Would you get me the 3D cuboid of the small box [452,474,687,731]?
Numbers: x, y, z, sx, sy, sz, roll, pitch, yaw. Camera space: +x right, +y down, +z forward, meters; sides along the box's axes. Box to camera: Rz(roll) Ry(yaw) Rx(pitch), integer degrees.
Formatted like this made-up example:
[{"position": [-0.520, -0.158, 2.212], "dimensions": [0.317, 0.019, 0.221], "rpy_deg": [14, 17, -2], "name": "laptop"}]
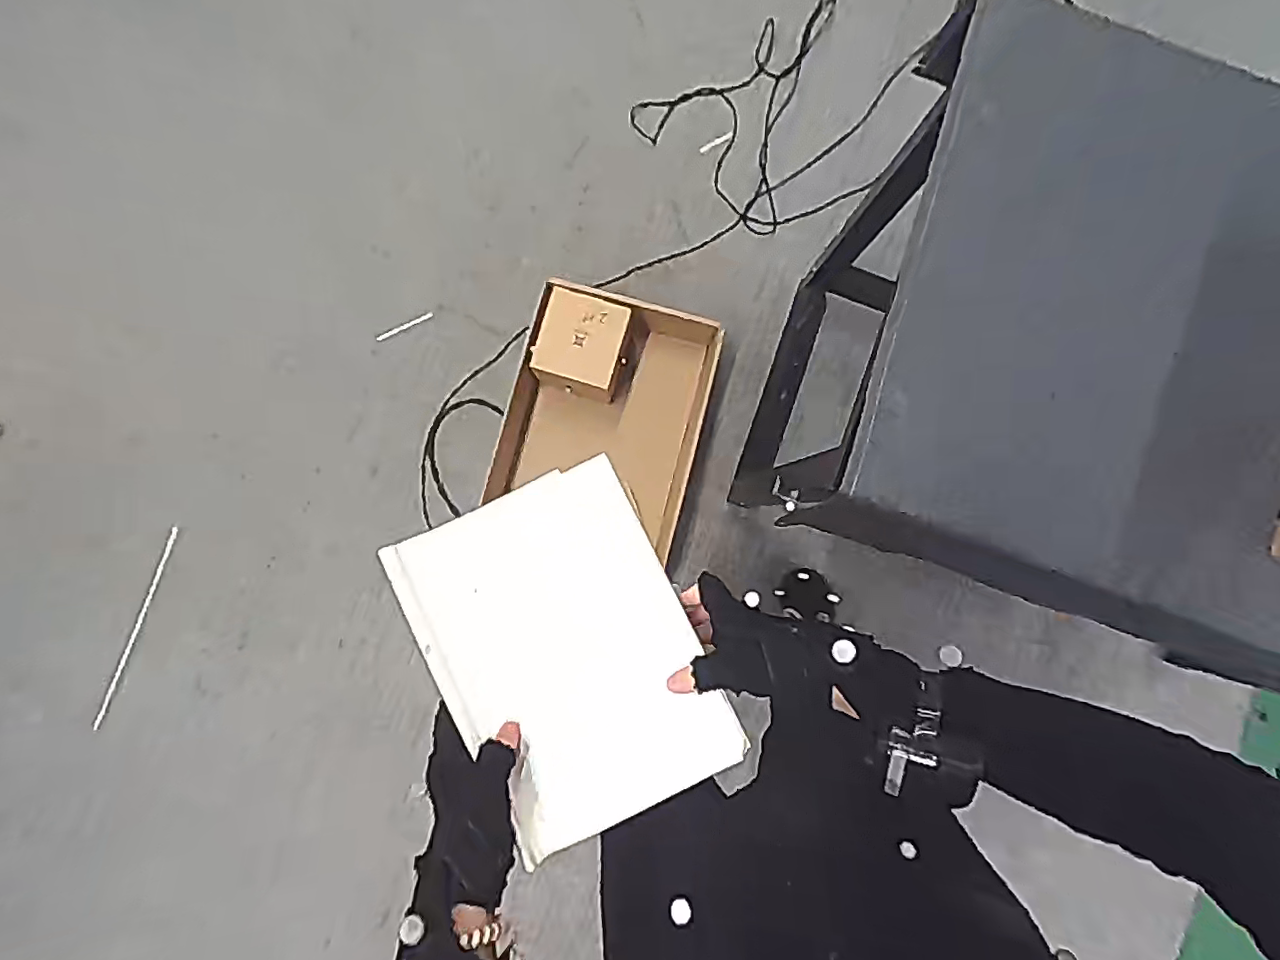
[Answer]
[{"position": [-0.057, 0.115, 0.532], "dimensions": [0.168, 0.176, 0.179], "rpy_deg": [-19, 76, -1], "name": "small box"}]
